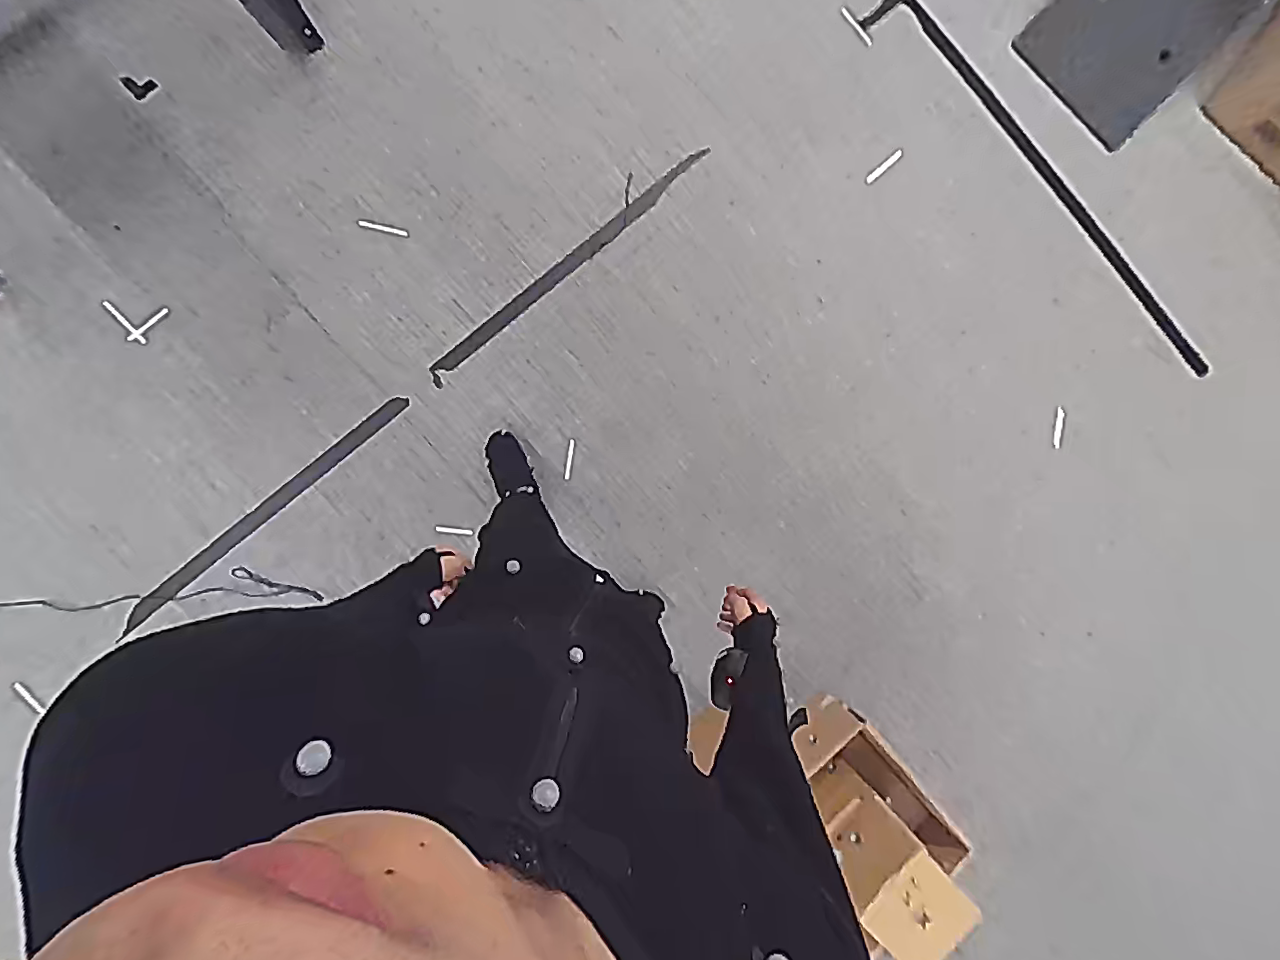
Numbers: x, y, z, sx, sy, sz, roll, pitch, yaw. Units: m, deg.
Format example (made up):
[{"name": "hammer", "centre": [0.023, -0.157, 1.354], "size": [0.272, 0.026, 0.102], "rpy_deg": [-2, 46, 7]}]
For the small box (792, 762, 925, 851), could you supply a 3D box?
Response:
[{"name": "small box", "centre": [0.467, 0.757, 1.185], "size": [0.168, 0.176, 0.179], "rpy_deg": [-42, 95, -5]}]

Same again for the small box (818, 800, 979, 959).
[{"name": "small box", "centre": [0.476, 0.757, 1.021], "size": [0.168, 0.176, 0.179], "rpy_deg": [-44, 94, -5]}]
